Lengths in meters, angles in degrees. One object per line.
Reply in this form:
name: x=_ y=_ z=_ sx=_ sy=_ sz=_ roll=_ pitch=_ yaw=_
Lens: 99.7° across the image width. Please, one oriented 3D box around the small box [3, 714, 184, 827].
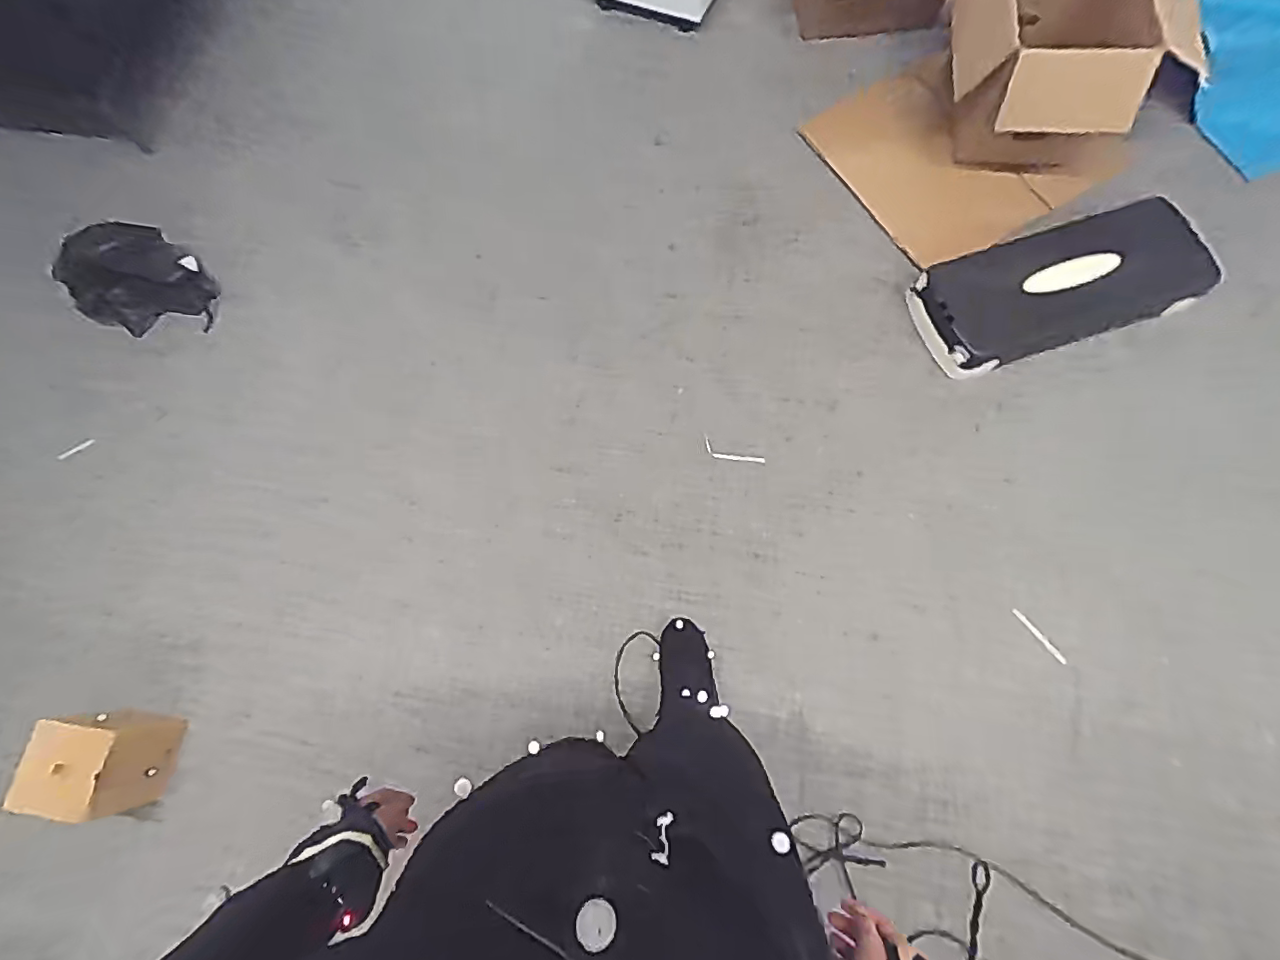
small box: x=-1.127 y=0.595 z=1.131 sx=0.179 sy=0.176 sz=0.168 roll=7 pitch=74 yaw=5
